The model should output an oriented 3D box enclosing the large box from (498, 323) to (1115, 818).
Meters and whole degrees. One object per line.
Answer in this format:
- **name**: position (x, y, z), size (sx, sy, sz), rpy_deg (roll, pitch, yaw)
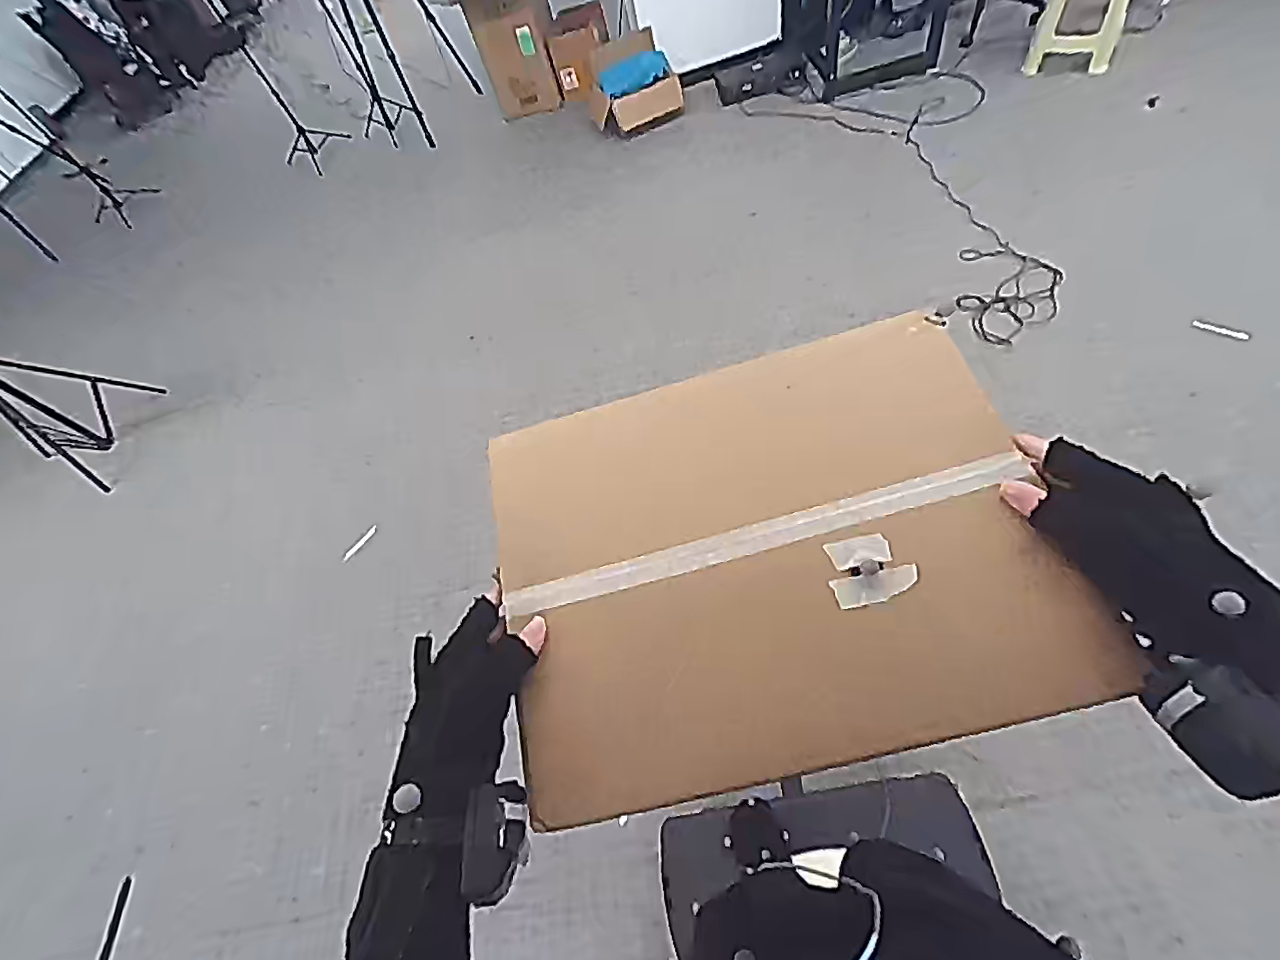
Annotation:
- **large box**: position (0.115, 0.109, 0.562), size (0.408, 0.320, 0.320), rpy_deg (-16, 65, 5)
